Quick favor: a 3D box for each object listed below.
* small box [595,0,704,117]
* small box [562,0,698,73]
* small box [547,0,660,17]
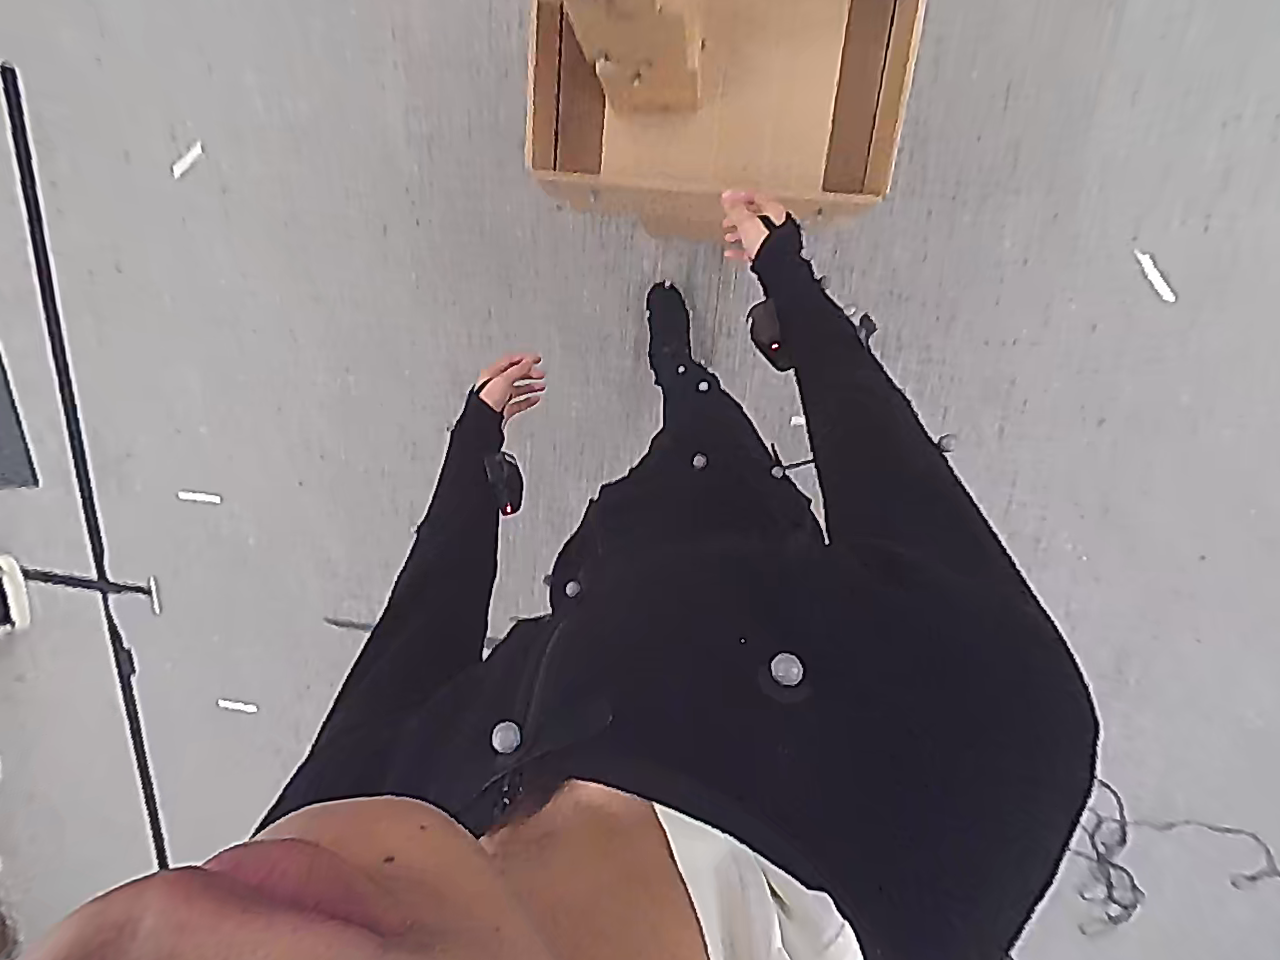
[{"bbox_3d":[0.021,-0.752,0.918,0.168,0.176,0.179,4,104,6],"label":"small box"},{"bbox_3d":[-0.001,-0.713,0.759,0.168,0.176,0.179,10,105,3],"label":"small box"},{"bbox_3d":[-0.050,-0.676,0.604,0.168,0.176,0.179,11,106,4],"label":"small box"}]
